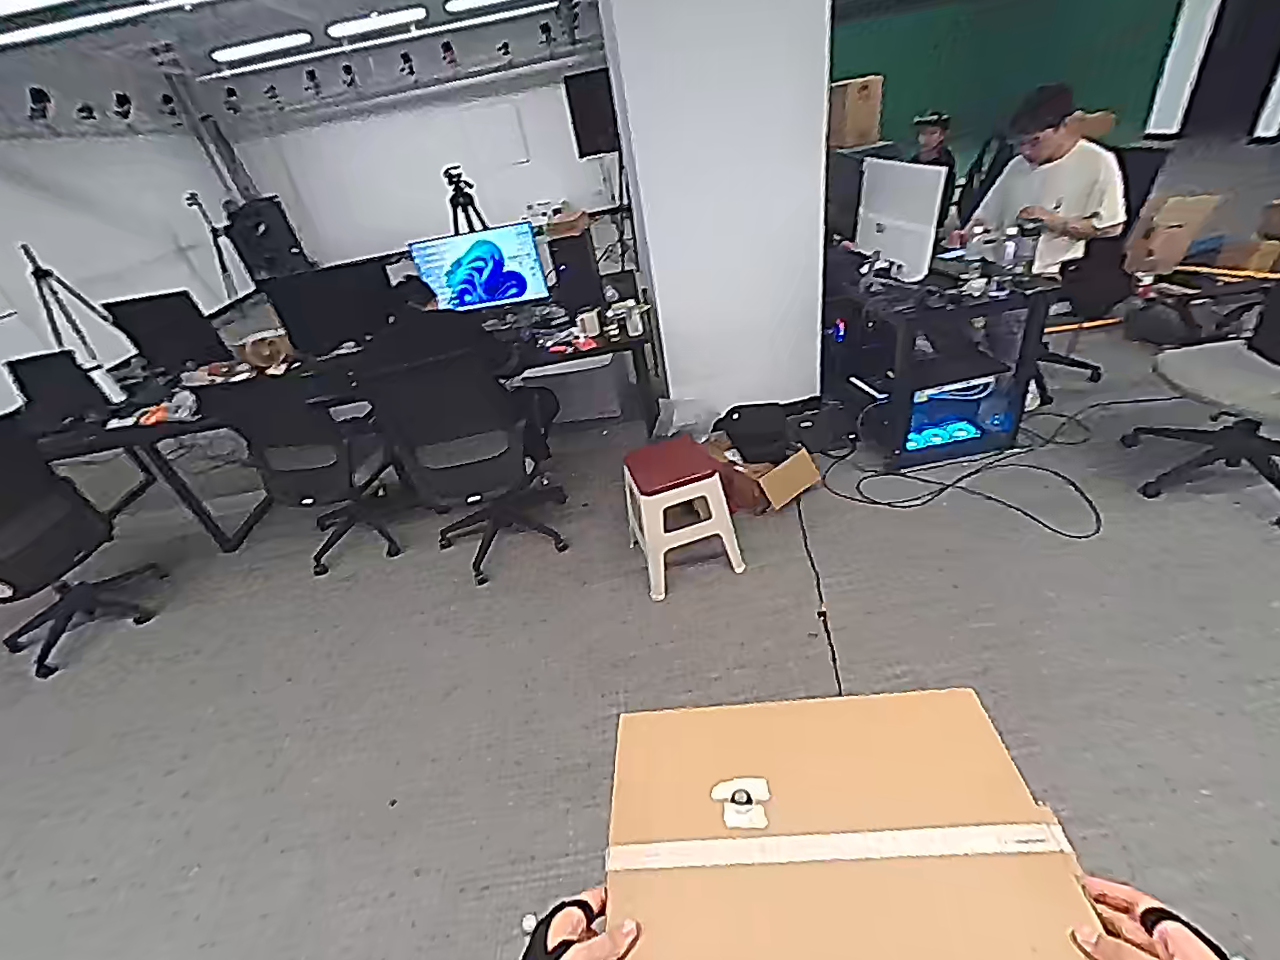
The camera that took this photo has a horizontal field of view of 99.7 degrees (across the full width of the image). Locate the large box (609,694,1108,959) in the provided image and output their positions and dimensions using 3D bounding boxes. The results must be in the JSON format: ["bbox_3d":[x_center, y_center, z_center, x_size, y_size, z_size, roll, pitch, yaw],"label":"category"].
[{"bbox_3d":[0.201,0.477,0.587,0.408,0.320,0.320,-9,31,9],"label":"large box"}]
